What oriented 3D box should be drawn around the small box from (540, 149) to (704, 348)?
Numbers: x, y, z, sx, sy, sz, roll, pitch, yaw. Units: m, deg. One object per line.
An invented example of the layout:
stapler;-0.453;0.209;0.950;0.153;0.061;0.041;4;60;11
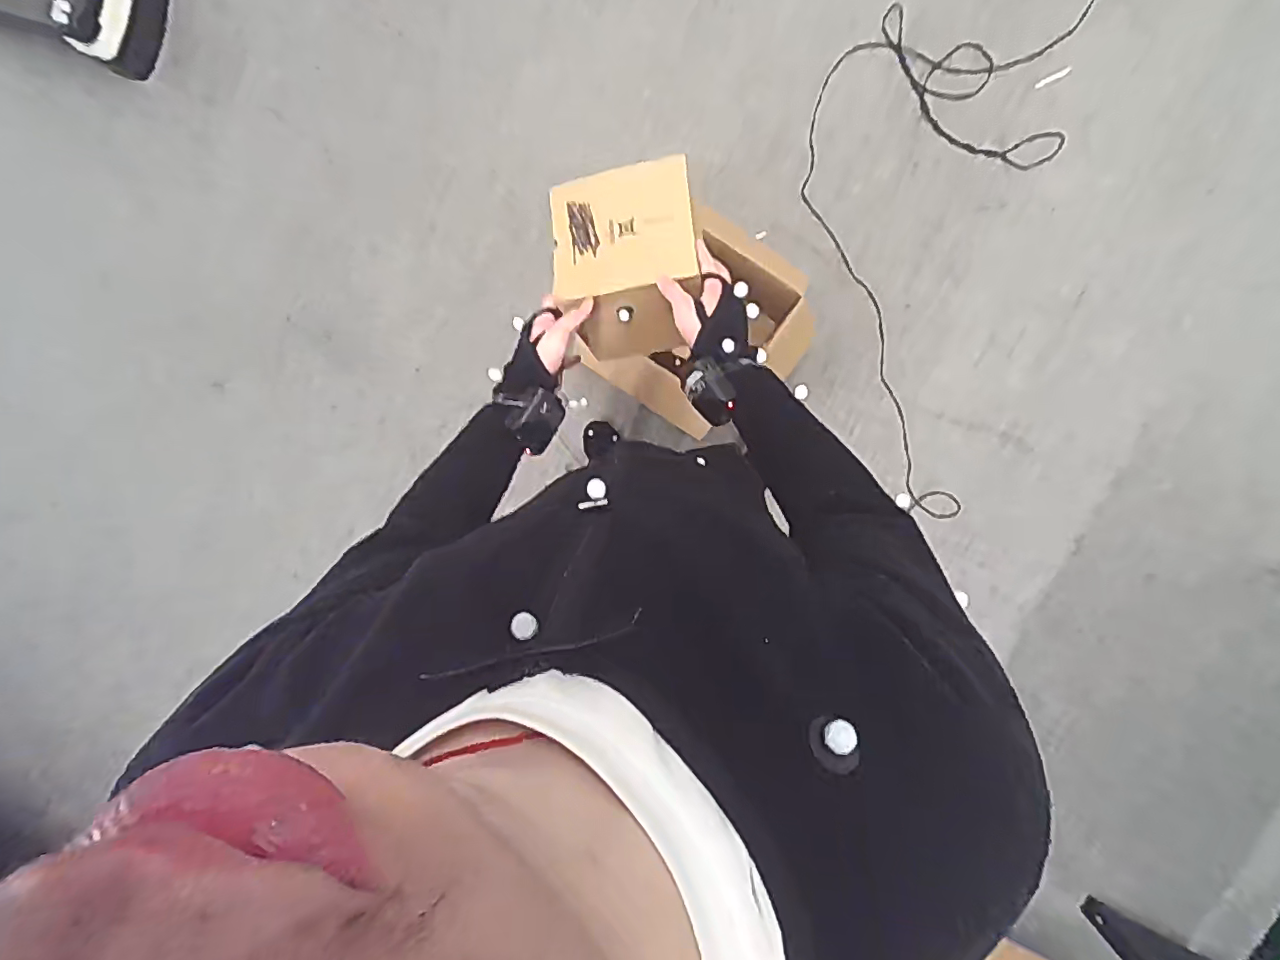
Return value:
small box;-0.016;-0.286;0.710;0.179;0.176;0.168;-3;79;13
